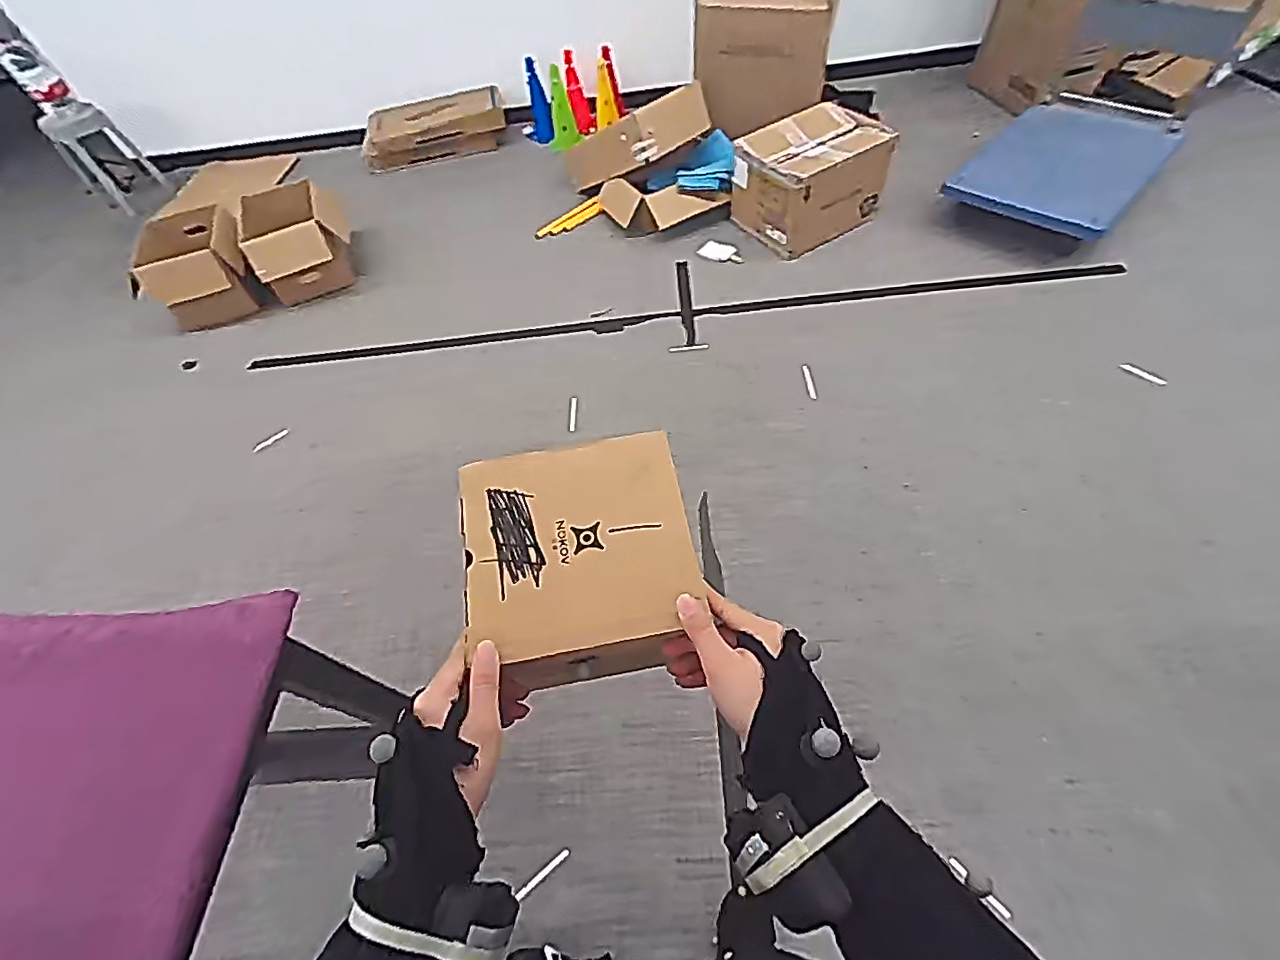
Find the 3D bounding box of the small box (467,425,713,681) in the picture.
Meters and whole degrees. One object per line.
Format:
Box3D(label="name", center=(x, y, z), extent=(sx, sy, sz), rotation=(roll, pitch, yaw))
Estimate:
Box3D(label="small box", center=(-0.042, 0.075, 0.488), extent=(0.179, 0.176, 0.168), rotation=(-10, 64, -4))
